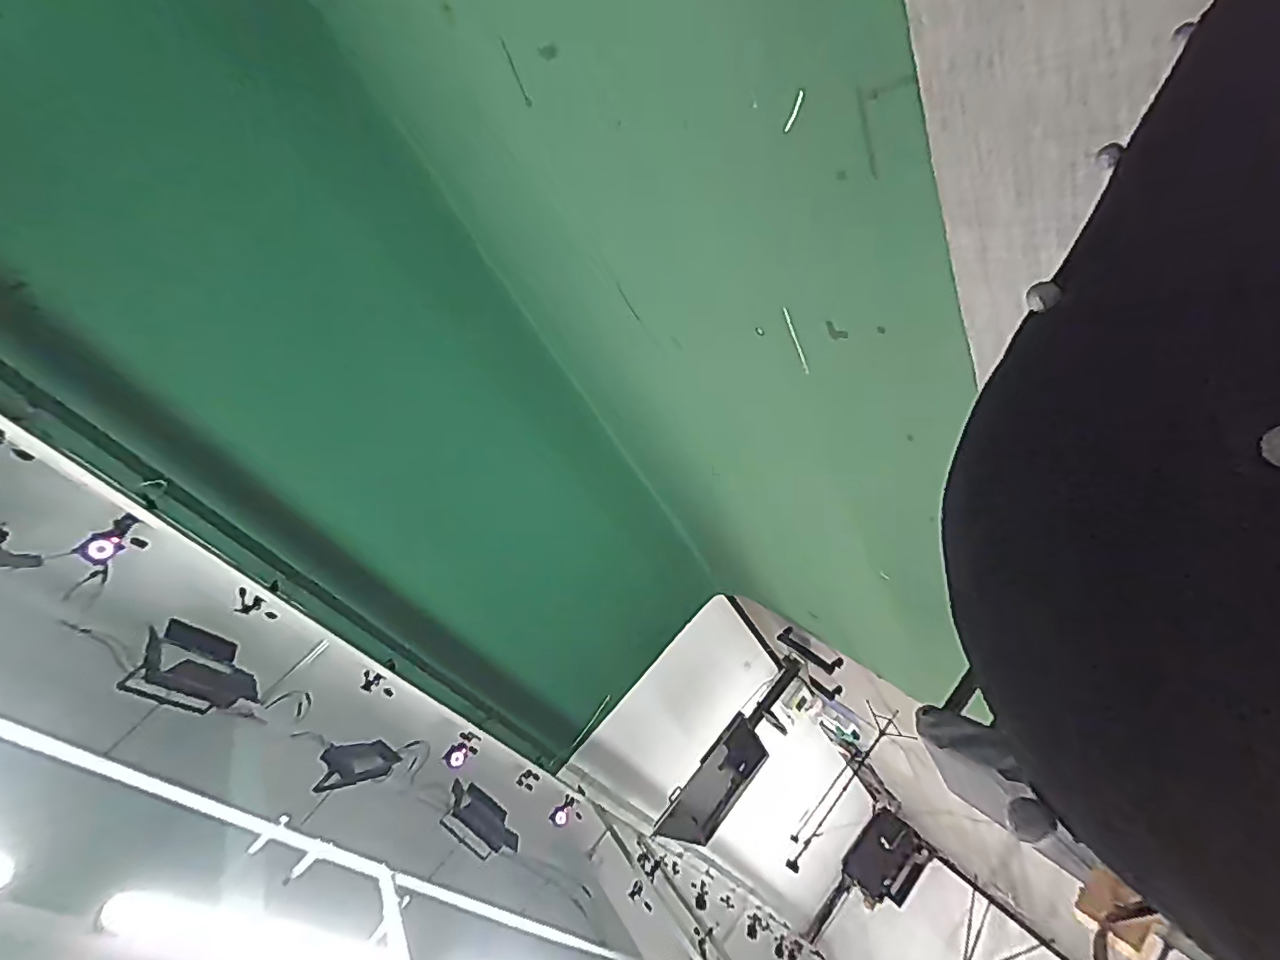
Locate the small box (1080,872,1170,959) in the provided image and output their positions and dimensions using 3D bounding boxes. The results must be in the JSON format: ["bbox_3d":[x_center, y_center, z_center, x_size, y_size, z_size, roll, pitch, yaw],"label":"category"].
[{"bbox_3d":[1.523,1.384,1.700,0.168,0.176,0.179,25,155,53],"label":"small box"}]
